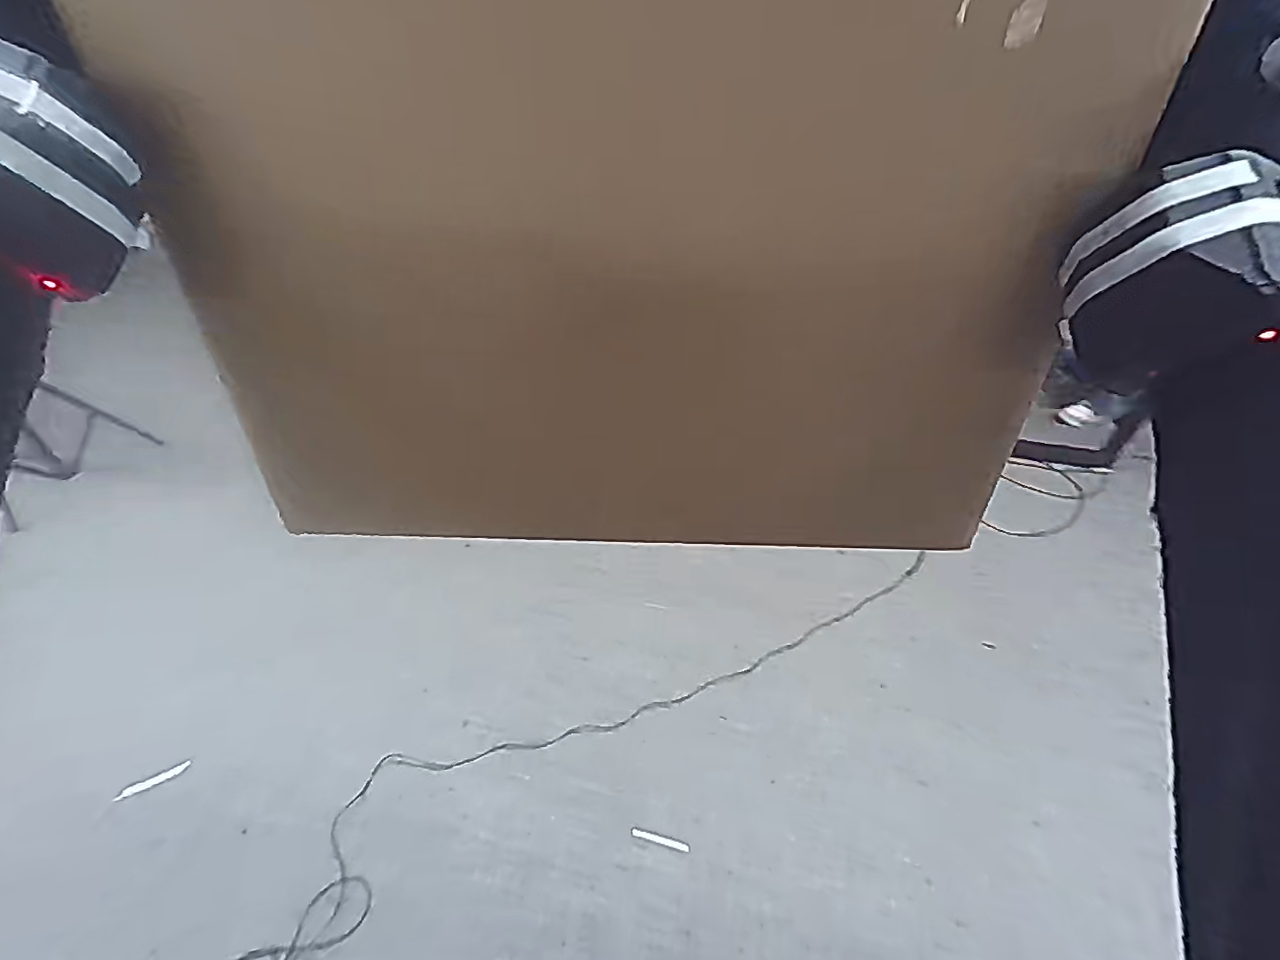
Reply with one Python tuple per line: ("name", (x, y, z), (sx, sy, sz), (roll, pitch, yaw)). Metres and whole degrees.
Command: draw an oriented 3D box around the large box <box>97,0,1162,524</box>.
("large box", (-0.007, -0.181, 0.369), (0.408, 0.320, 0.320), (2, 33, 0))
